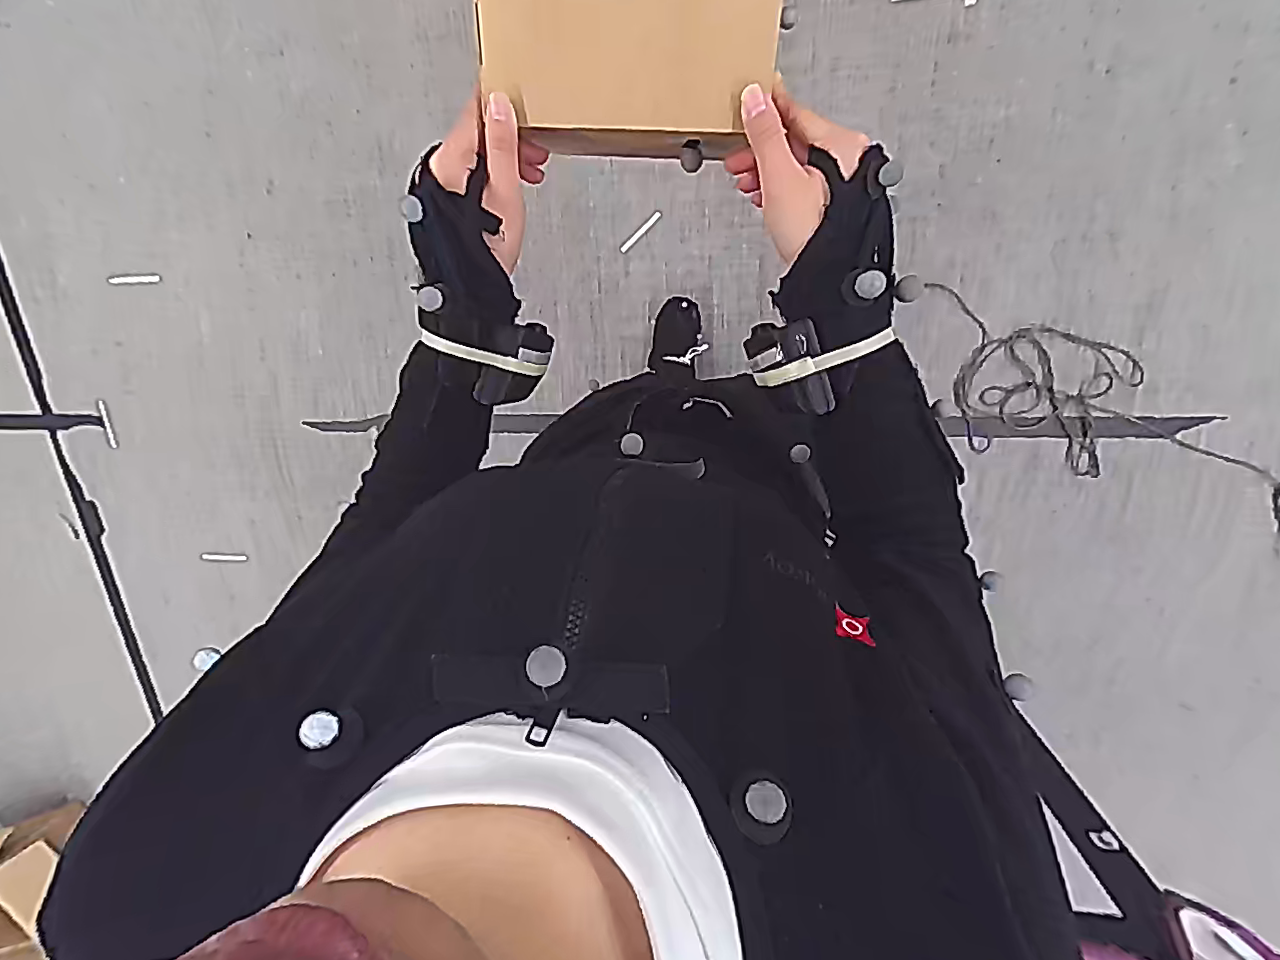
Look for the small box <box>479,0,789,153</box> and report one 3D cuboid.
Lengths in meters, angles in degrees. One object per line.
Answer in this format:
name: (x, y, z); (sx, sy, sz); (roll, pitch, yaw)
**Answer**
small box: (0.005, -0.324, 0.359); (0.179, 0.176, 0.168); (6, 116, 6)
